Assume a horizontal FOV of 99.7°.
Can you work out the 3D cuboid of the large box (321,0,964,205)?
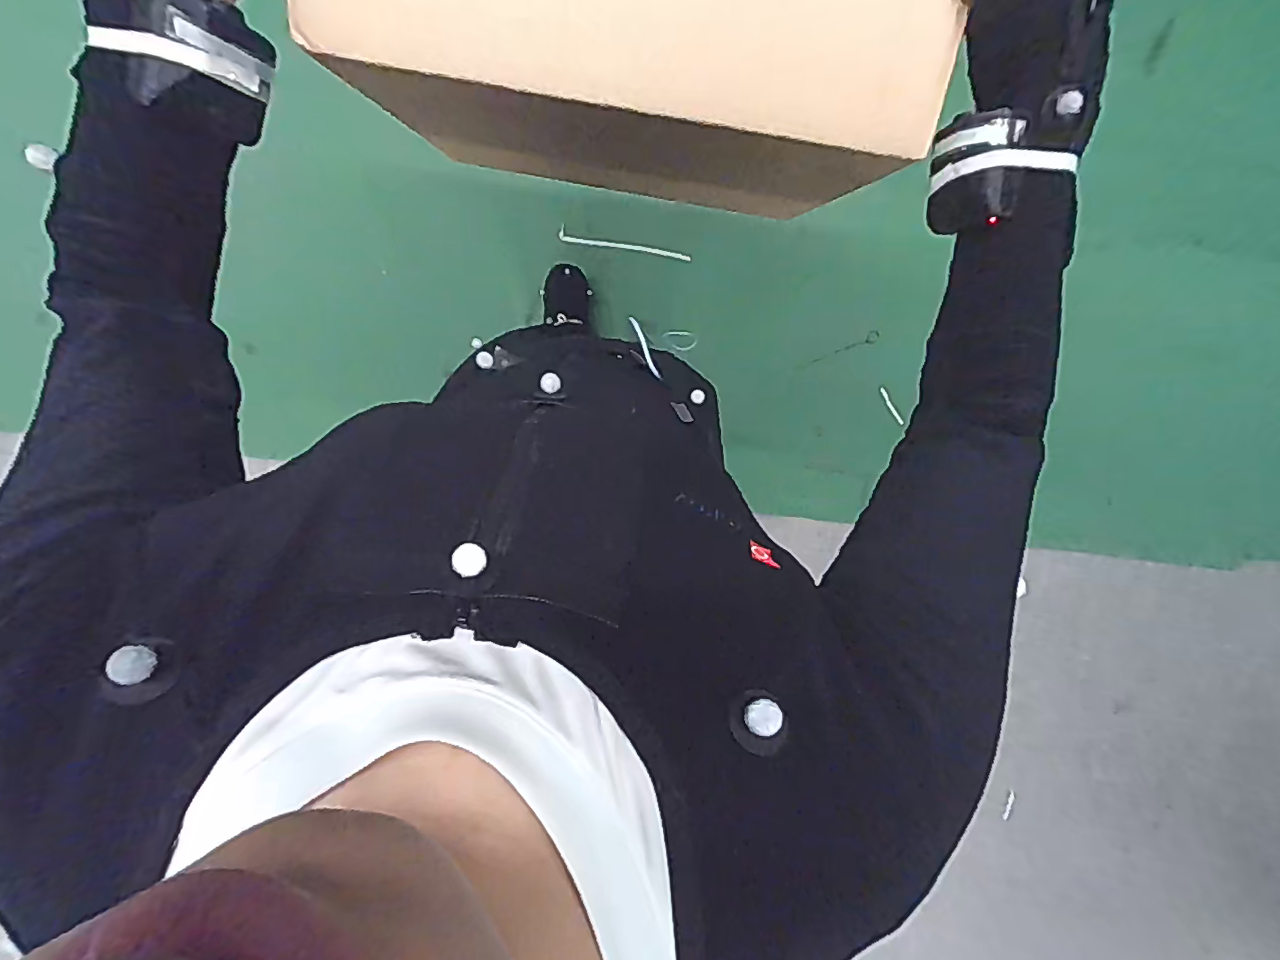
[{"bbox_3d":[0.012,-0.442,0.441,0.408,0.320,0.320,7,109,-5],"label":"large box"}]
